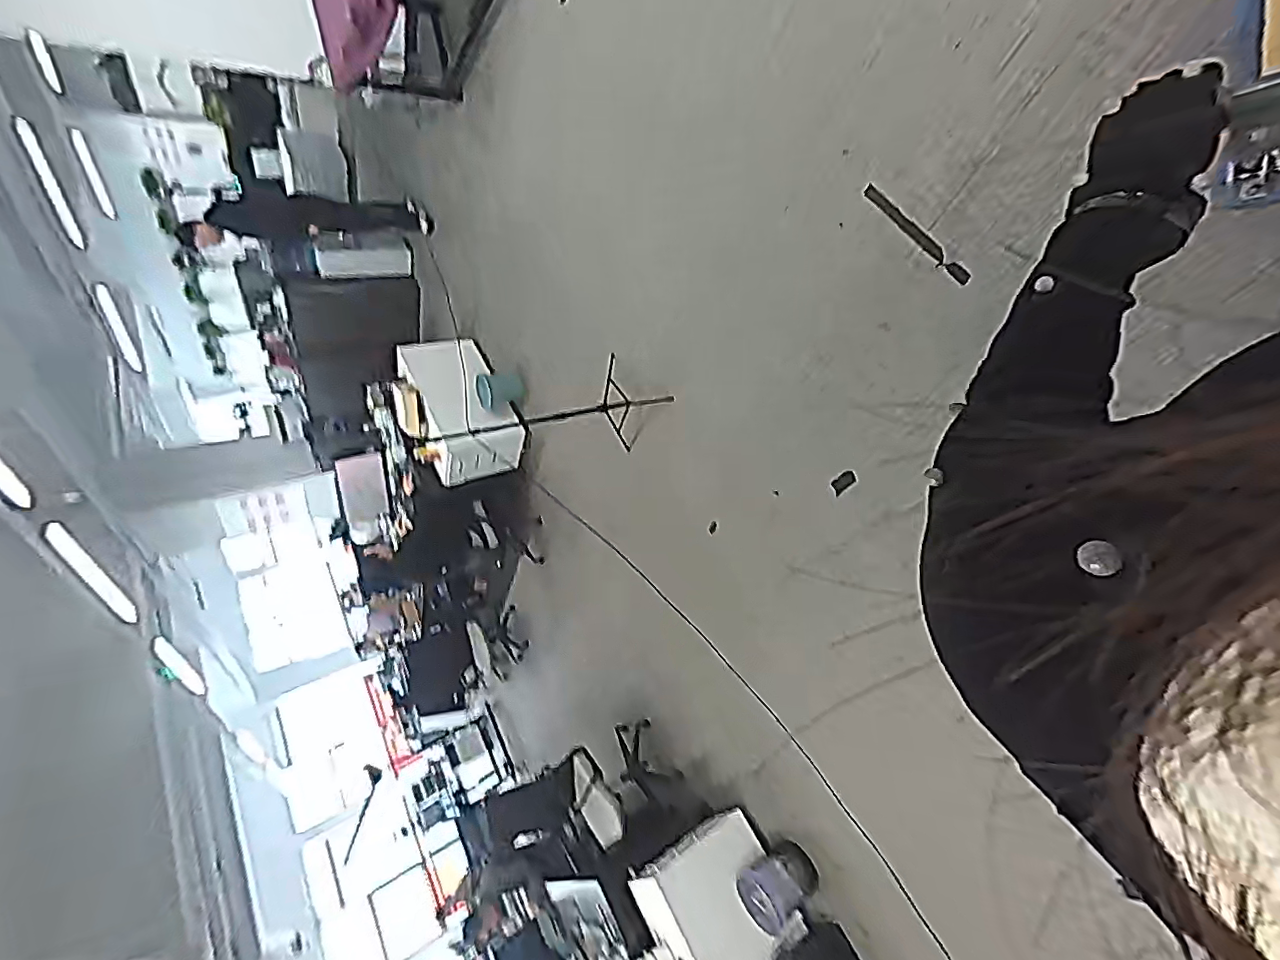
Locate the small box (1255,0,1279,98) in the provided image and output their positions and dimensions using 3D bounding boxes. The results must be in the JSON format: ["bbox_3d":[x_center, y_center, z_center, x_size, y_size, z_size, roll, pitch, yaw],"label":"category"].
[{"bbox_3d":[0.929,-0.620,0.690,0.168,0.176,0.179,7,110,54],"label":"small box"}]
